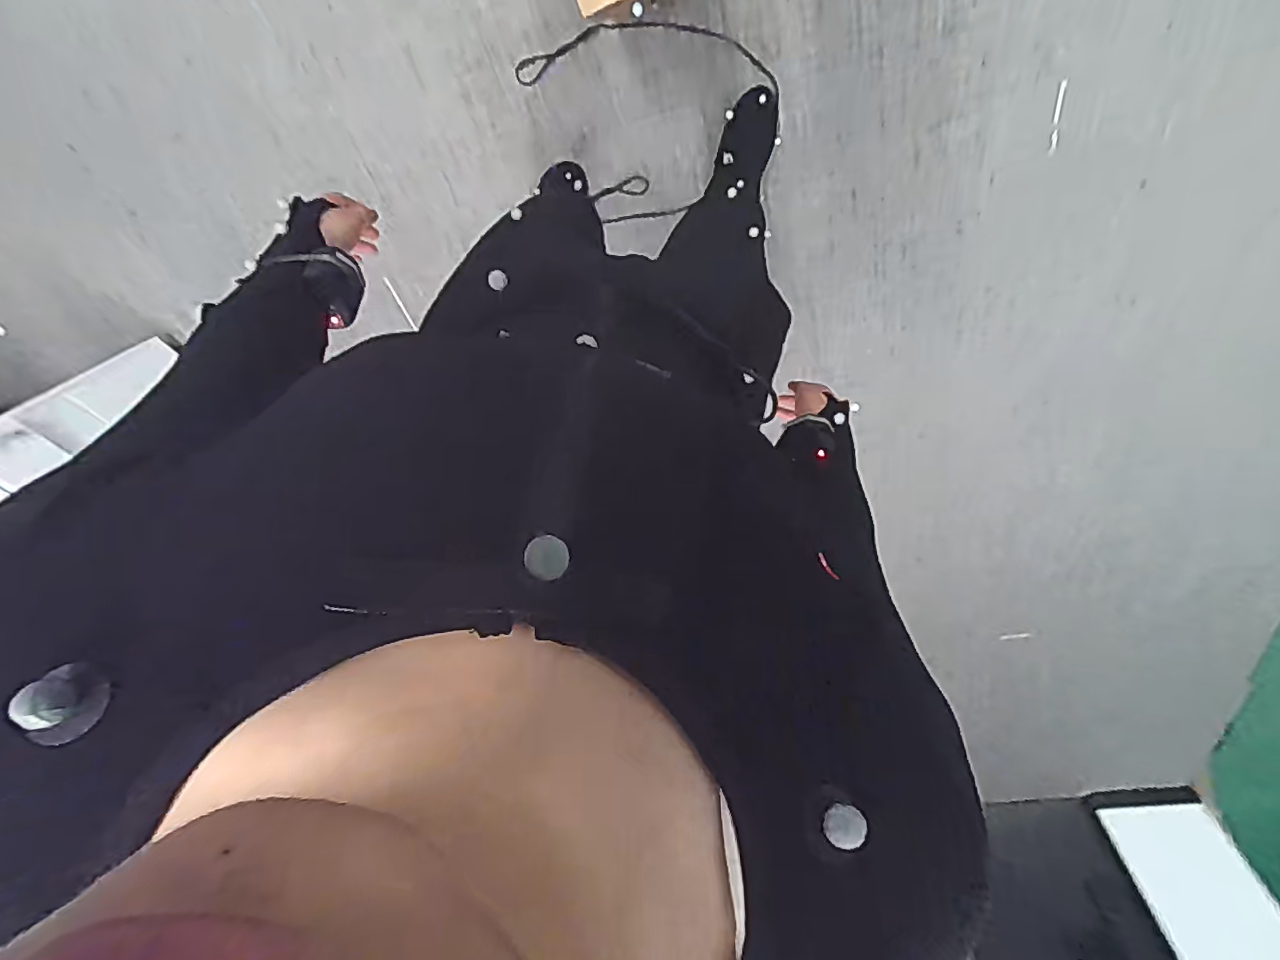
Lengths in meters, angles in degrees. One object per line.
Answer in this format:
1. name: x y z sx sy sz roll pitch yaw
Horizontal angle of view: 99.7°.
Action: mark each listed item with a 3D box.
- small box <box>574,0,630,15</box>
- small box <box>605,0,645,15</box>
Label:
1. small box: -0.038 -0.810 0.776 0.168 0.176 0.179 -14 126 15
2. small box: -0.013 -0.917 0.899 0.168 0.176 0.179 -18 124 16
